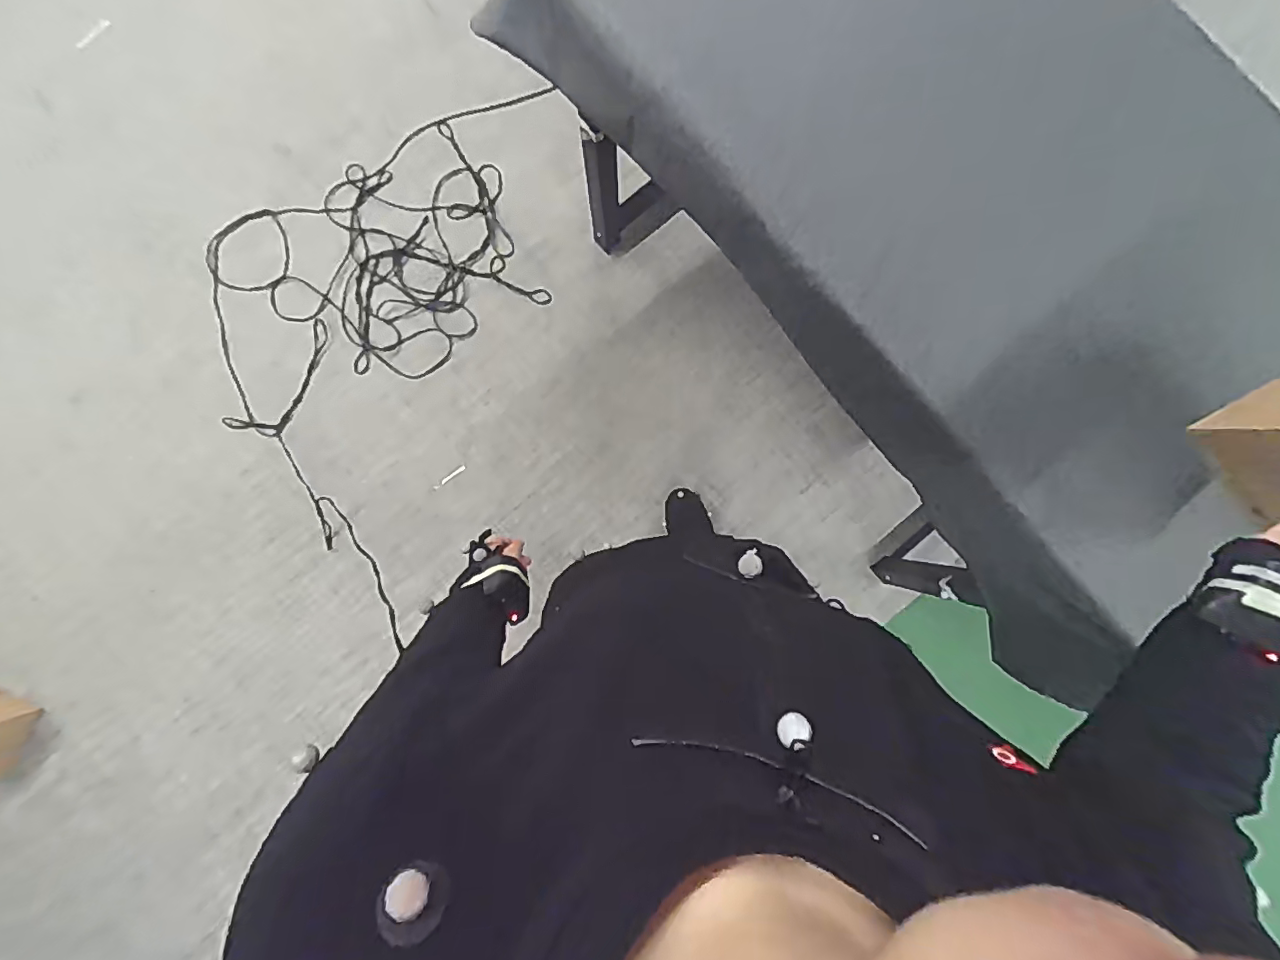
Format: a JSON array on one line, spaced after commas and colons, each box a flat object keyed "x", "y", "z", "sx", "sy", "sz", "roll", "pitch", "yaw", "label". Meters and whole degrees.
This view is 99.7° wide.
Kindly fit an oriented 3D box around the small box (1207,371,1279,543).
[{"x": 0.693, "y": -0.033, "z": 0.492, "sx": 0.179, "sy": 0.176, "sz": 0.168, "roll": -35, "pitch": 89, "yaw": 10, "label": "small box"}]
